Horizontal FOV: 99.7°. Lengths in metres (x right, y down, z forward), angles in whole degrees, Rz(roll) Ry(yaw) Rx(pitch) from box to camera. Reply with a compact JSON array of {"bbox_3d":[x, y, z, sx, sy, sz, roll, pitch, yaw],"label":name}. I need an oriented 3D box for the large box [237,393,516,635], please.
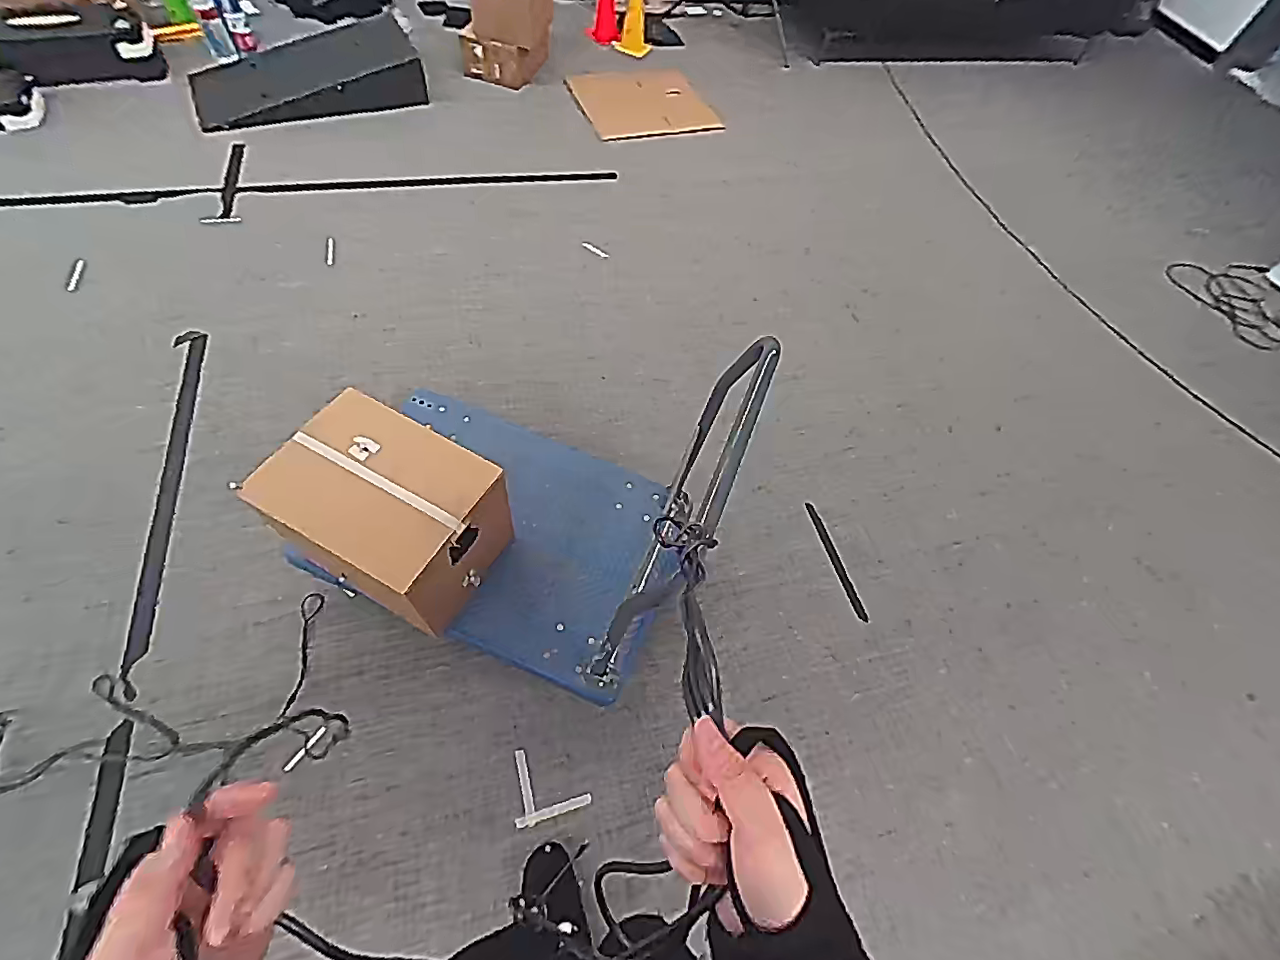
[{"bbox_3d":[-0.535,0.084,1.193,0.408,0.320,0.320,27,59,9],"label":"large box"}]
